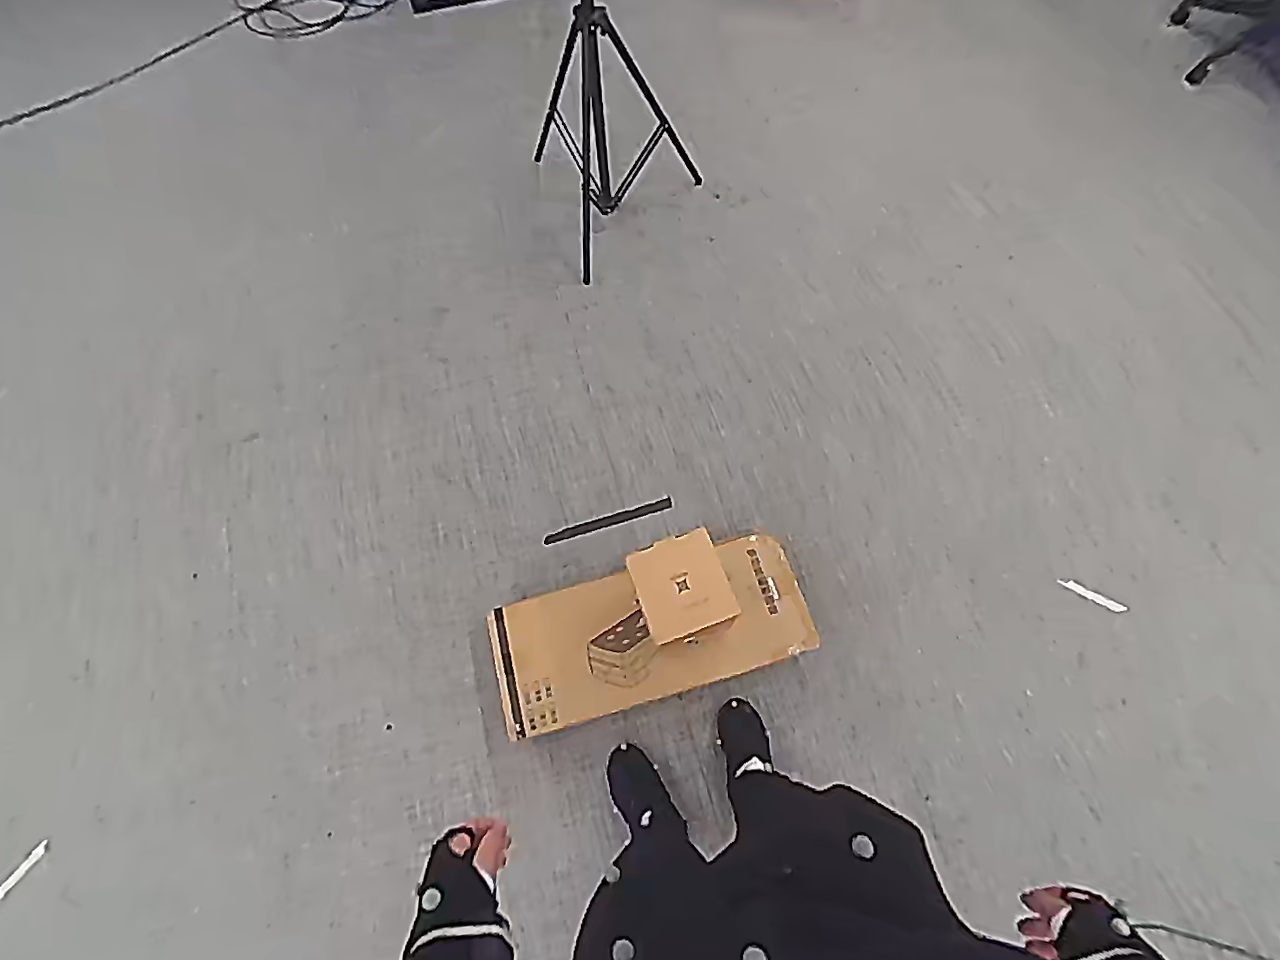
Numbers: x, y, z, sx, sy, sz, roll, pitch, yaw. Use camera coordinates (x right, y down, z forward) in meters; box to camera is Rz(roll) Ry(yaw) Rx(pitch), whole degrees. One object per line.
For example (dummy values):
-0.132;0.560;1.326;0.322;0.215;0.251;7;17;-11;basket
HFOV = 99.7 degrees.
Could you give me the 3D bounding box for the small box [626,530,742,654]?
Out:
0.079;0.224;1.057;0.168;0.176;0.179;-20;69;-6;small box
